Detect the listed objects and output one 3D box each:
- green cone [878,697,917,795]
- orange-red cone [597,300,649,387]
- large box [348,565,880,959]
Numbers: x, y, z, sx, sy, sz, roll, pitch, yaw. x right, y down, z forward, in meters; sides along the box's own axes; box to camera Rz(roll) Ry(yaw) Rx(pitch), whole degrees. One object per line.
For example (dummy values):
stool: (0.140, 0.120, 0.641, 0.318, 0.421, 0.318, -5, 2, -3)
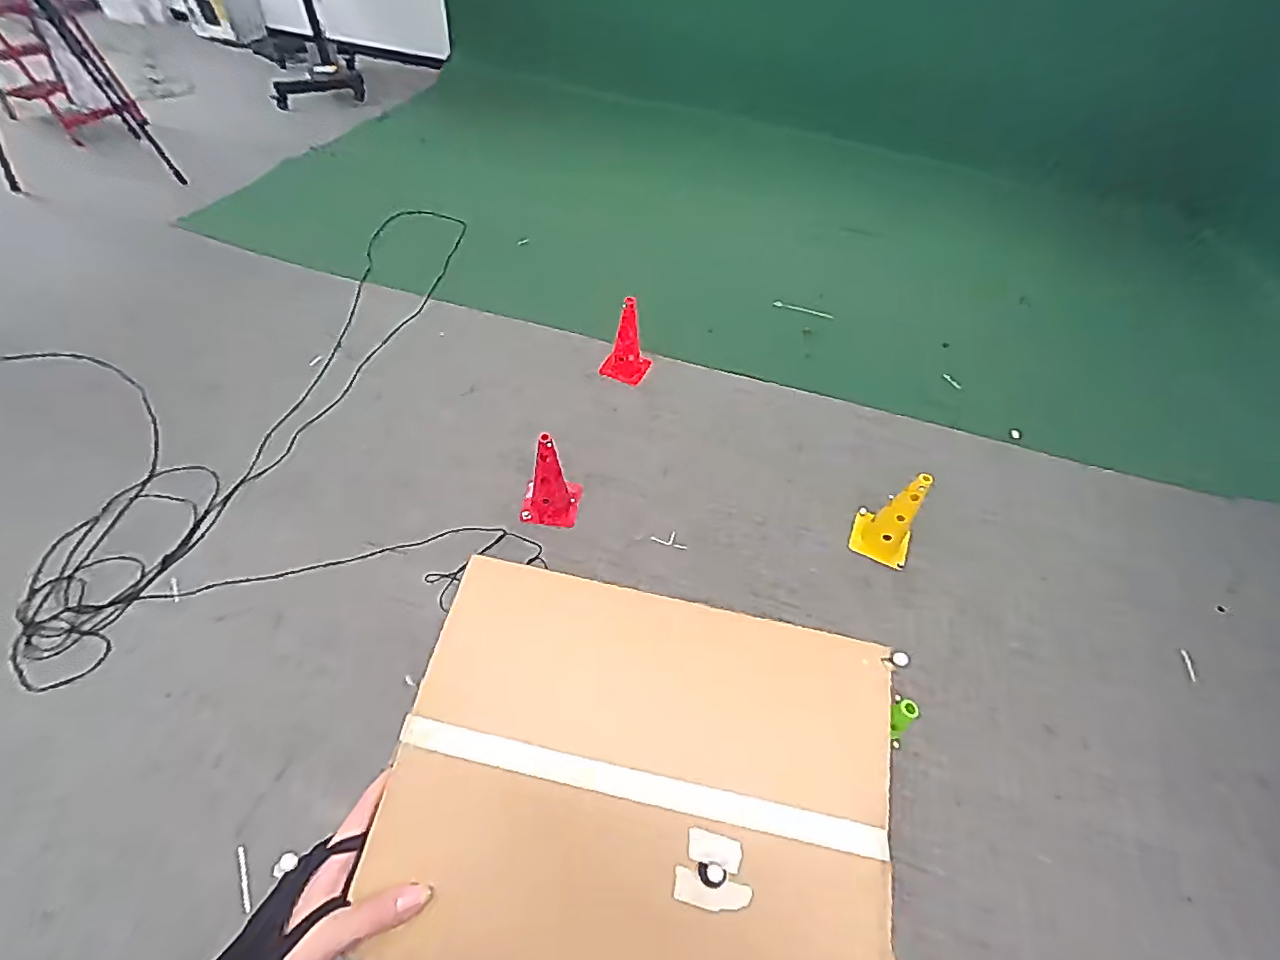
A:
green cone: (0.619, 0.649, 1.403, 0.200, 0.368, 0.202, 21, 51, 10)
orange-red cone: (-0.065, -0.616, 2.351, 0.199, 0.360, 0.198, 21, 51, 13)
large box: (-0.004, 0.318, 0.591, 0.408, 0.320, 0.320, 12, 65, 3)
